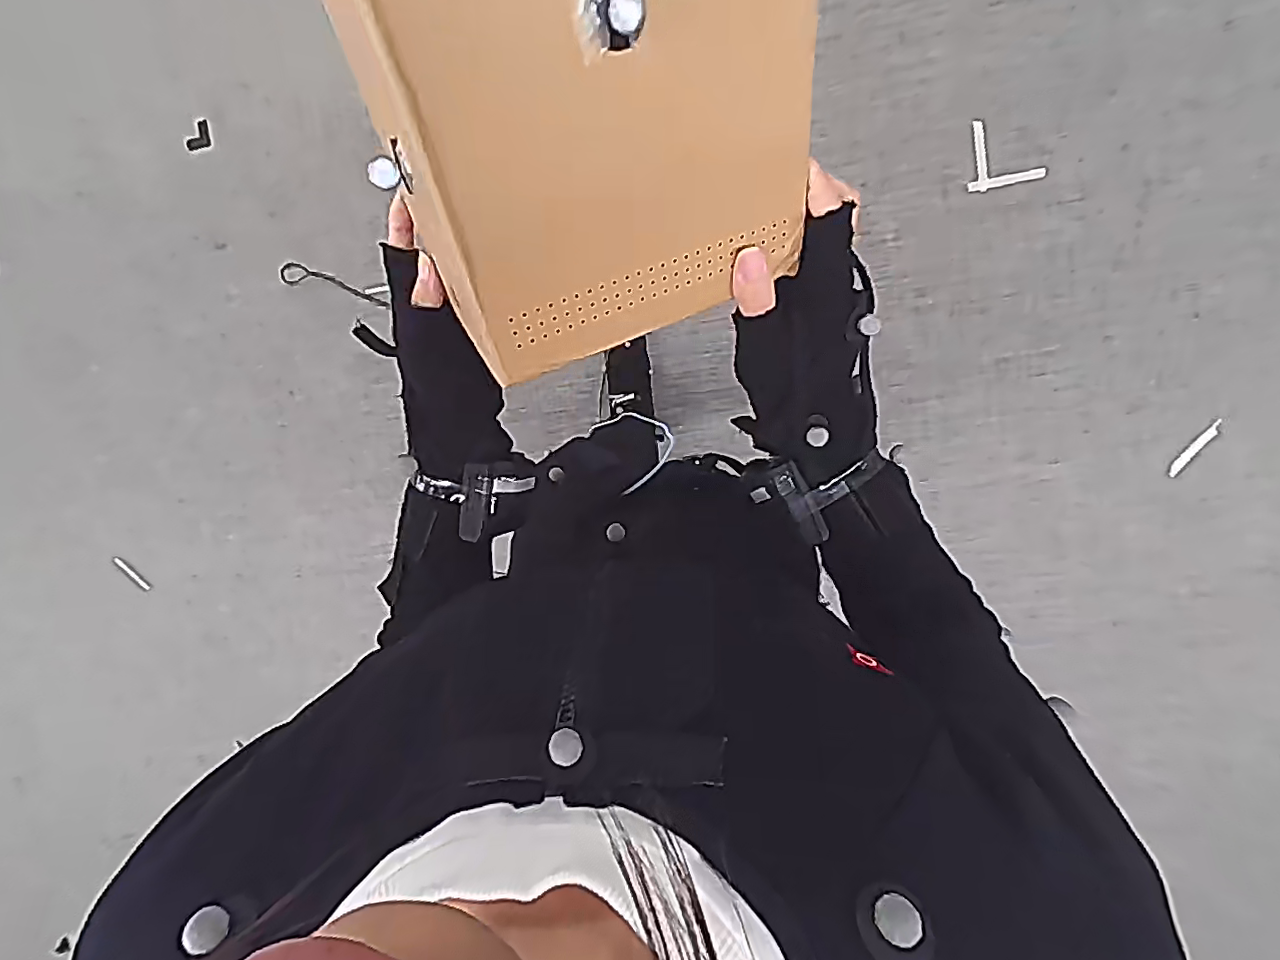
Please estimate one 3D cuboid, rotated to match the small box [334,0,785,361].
[{"bbox_3d":[-0.035,-0.189,0.292,0.179,0.168,0.176,-25,135,-14],"label":"small box"}]
